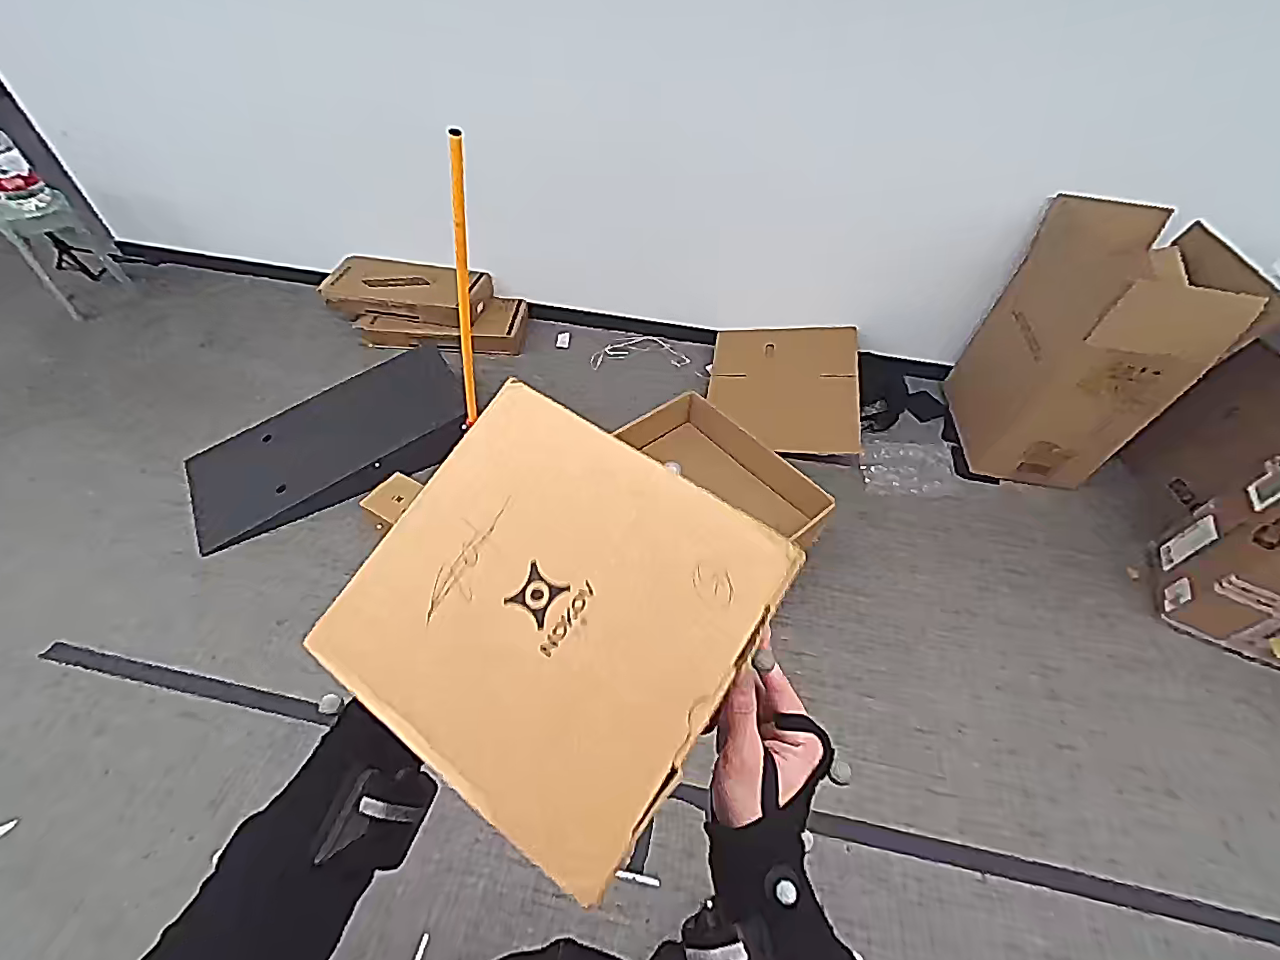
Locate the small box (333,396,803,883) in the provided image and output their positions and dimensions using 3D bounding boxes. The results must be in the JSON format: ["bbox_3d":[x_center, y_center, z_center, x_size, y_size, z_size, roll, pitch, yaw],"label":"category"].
[{"bbox_3d":[-0.027,0.085,0.332,0.179,0.176,0.168,30,75,19],"label":"small box"}]
